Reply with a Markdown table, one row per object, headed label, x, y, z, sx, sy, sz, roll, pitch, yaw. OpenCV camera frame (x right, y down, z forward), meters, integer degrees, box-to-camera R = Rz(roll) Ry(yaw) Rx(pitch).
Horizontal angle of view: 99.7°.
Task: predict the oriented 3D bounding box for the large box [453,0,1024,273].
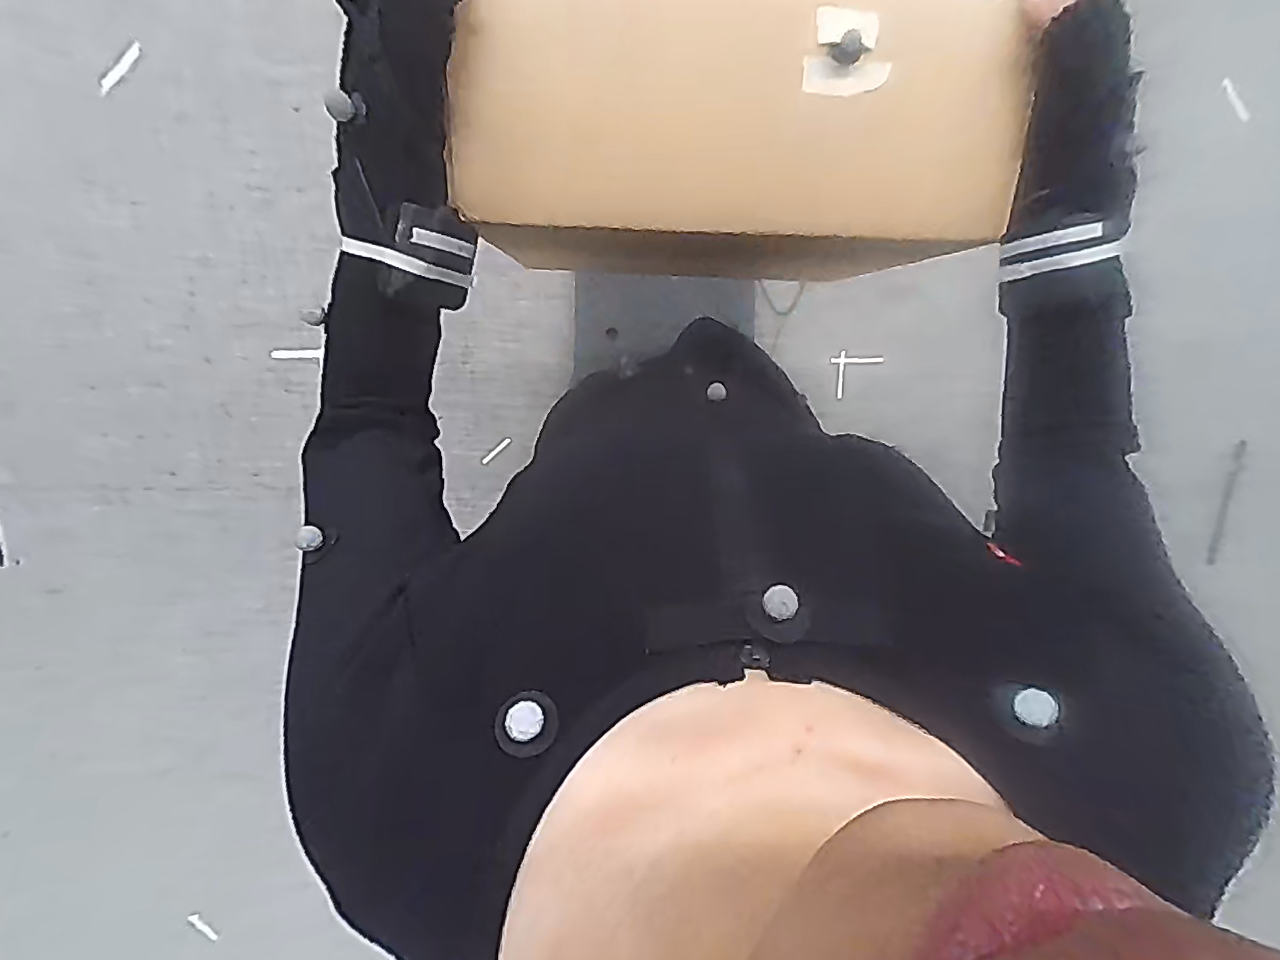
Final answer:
| label | x | y | z | sx | sy | sz | roll | pitch | yaw |
| --- | --- | --- | --- | --- | --- | --- | --- | --- | --- |
| large box | 0.062 | -0.379 | 0.511 | 0.408 | 0.320 | 0.320 | 1 | 105 | -3 |
